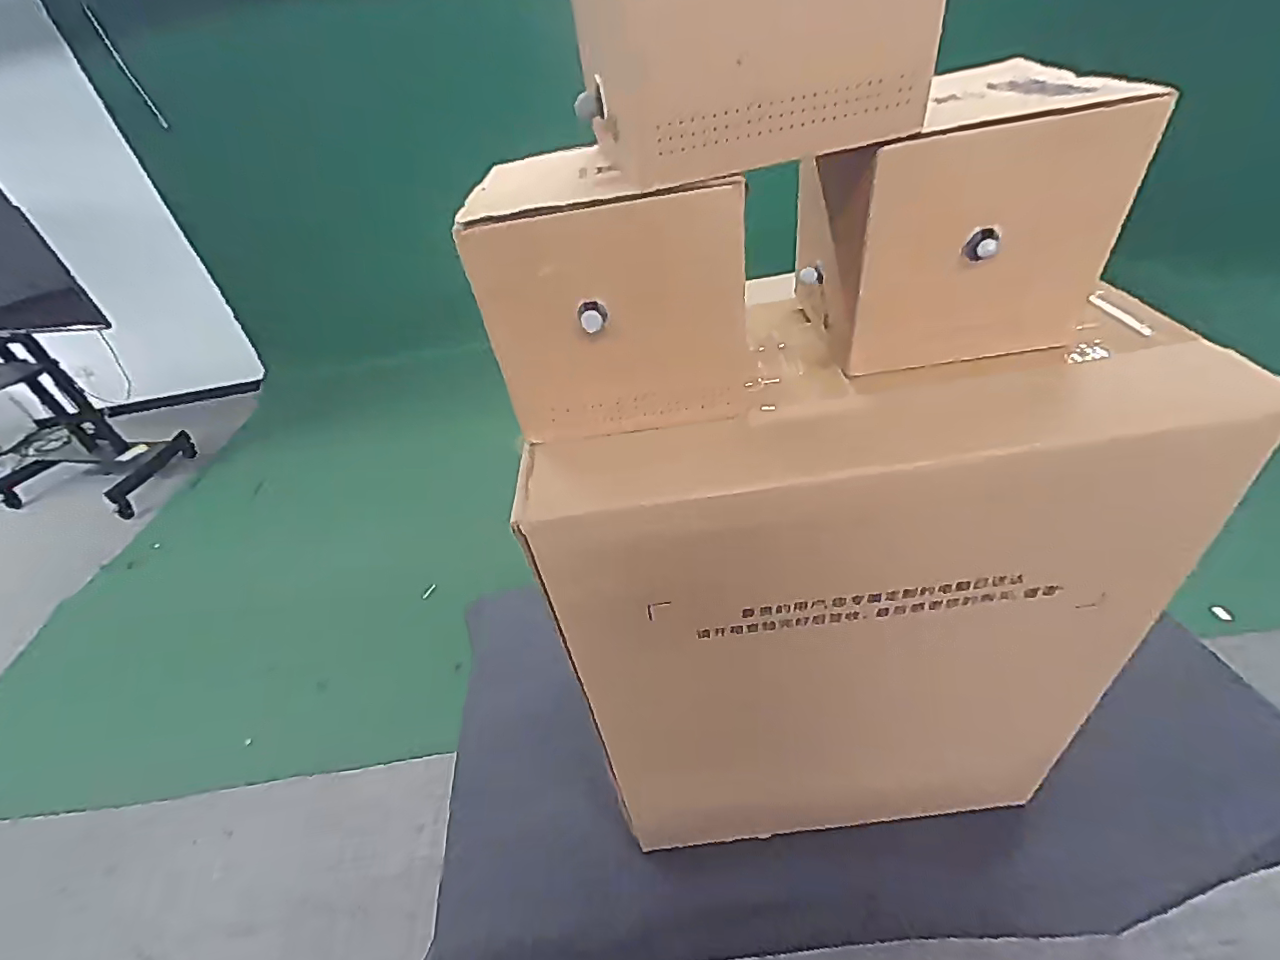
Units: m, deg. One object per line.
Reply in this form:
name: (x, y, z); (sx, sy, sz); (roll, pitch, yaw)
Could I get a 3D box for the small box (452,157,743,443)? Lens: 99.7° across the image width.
small box: (-0.020, -0.145, 0.430); (0.179, 0.176, 0.168); (-8, 42, 3)

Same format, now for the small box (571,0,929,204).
small box: (0.053, -0.286, 0.324); (0.179, 0.176, 0.168); (-16, 40, -4)

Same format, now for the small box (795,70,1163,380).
small box: (0.232, -0.201, 0.434); (0.179, 0.176, 0.168); (-9, 42, 4)
